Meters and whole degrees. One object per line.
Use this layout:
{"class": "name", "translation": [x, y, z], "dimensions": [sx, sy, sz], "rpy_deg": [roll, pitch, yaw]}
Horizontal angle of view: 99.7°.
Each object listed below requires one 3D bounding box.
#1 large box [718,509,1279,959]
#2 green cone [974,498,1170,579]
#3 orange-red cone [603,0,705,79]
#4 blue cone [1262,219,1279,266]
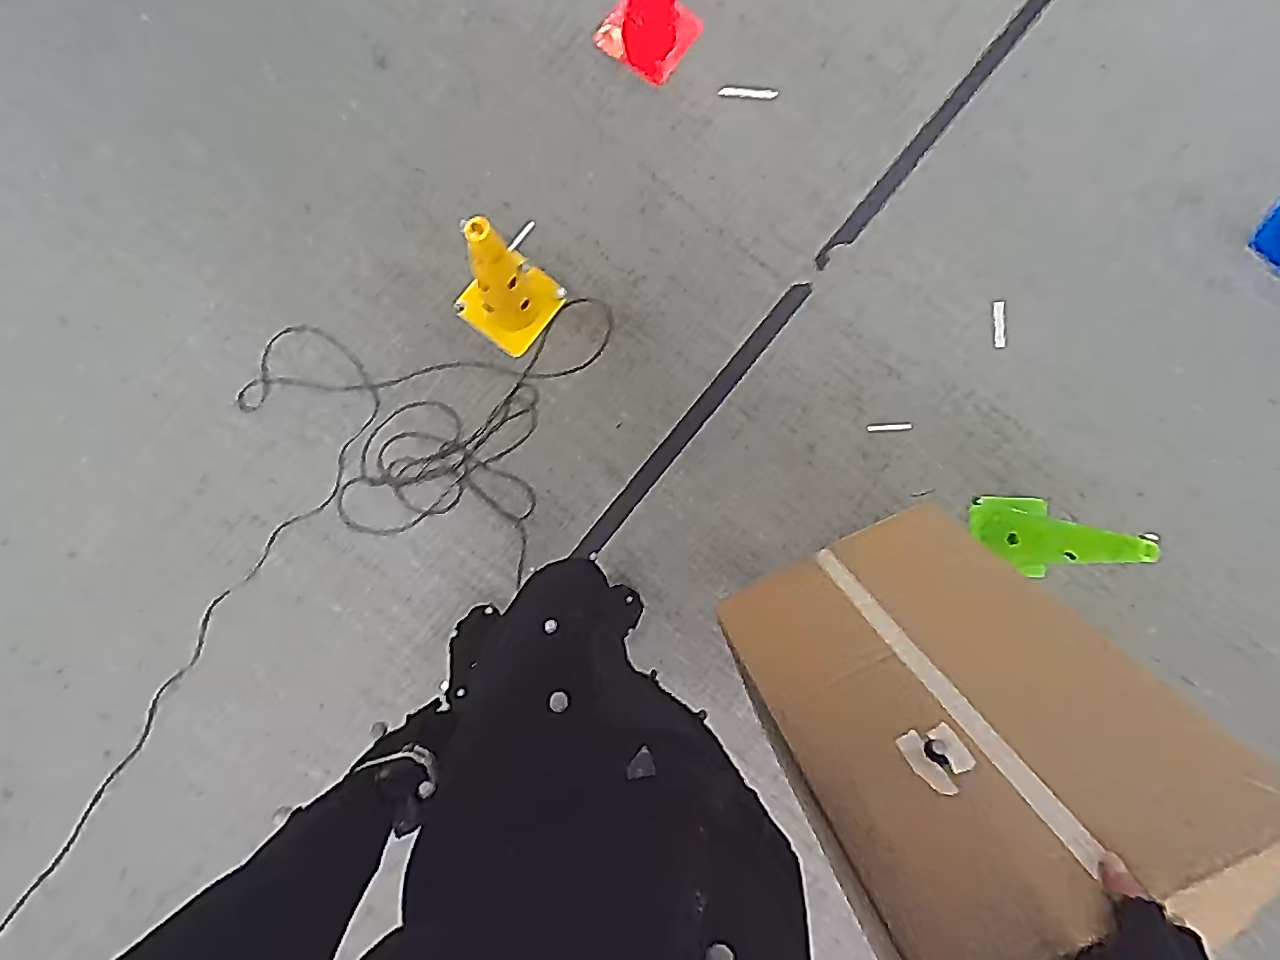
{"class": "large box", "translation": [0.333, 0.309, 0.621], "dimensions": [0.320, 0.408, 0.320], "rpy_deg": [-24, 126, -2]}
{"class": "green cone", "translation": [0.940, 0.144, 1.175], "dimensions": [0.202, 0.368, 0.200], "rpy_deg": [2, 89, -5]}
{"class": "orange-red cone", "translation": [0.042, -1.104, 1.150], "dimensions": [0.198, 0.360, 0.199], "rpy_deg": [37, 88, -1]}
{"class": "blue cone", "translation": [1.763, -0.627, 1.263], "dimensions": [0.192, 0.380, 0.193], "rpy_deg": [42, 87, -3]}
